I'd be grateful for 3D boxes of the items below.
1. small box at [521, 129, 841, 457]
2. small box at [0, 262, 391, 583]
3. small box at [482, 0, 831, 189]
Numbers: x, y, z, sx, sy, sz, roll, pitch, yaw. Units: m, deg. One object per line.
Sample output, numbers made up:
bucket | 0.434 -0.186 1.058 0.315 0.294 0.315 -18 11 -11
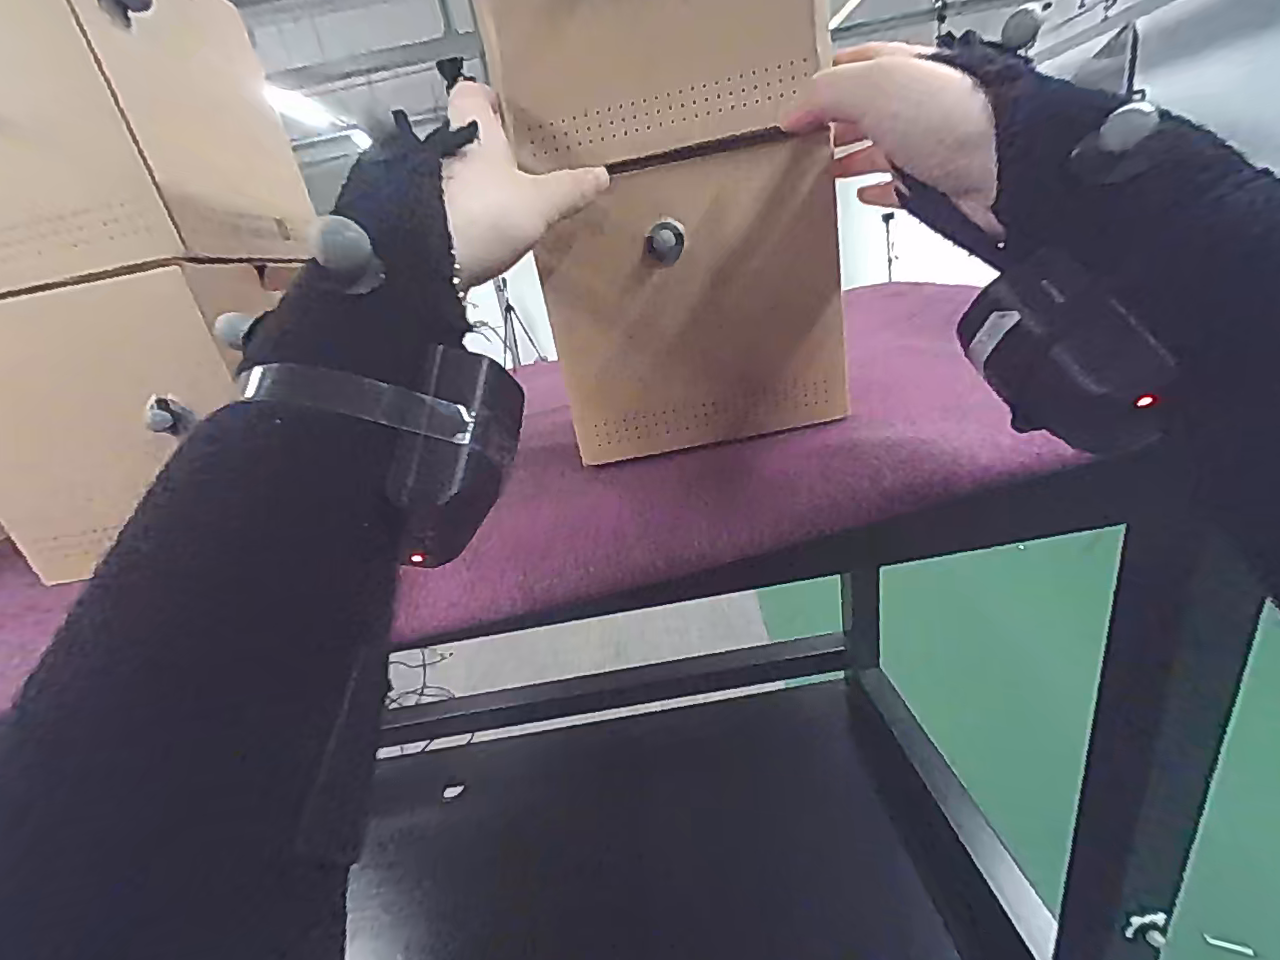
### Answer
small box | 0.032 -0.124 0.397 0.179 0.176 0.168 -10 20 3
small box | -0.310 -0.050 0.384 0.179 0.176 0.168 -11 22 1
small box | 0.005 -0.274 0.337 0.179 0.176 0.168 -10 20 6
